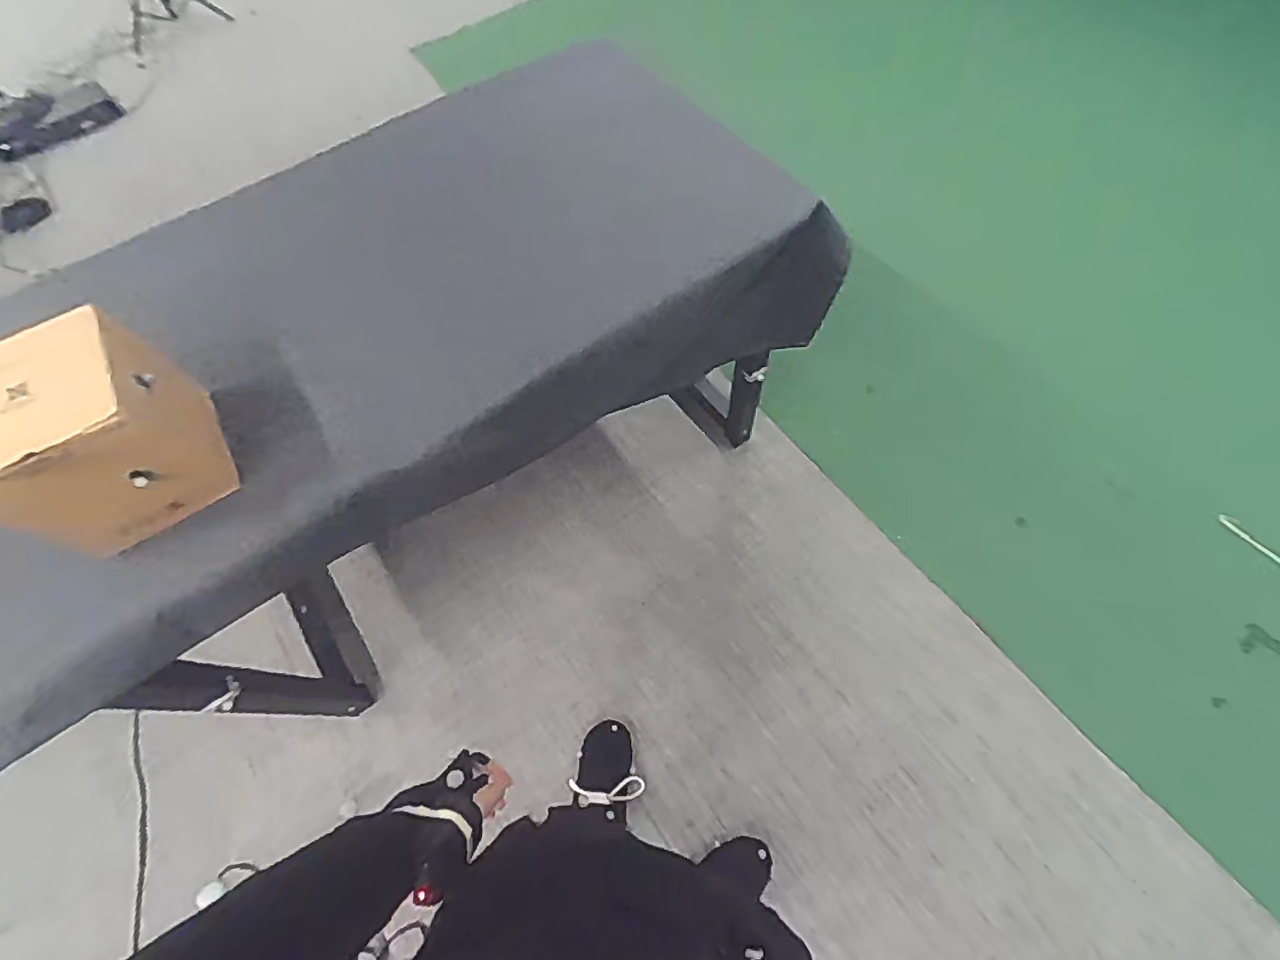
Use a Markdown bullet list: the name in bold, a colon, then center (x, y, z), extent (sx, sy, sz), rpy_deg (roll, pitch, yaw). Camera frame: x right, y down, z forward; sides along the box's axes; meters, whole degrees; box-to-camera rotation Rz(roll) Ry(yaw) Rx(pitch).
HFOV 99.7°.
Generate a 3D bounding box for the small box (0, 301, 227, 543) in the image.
- **small box**: center (-0.601, -0.051, 0.591), extent (0.168, 0.176, 0.179), rpy_deg (-31, 66, -12)
